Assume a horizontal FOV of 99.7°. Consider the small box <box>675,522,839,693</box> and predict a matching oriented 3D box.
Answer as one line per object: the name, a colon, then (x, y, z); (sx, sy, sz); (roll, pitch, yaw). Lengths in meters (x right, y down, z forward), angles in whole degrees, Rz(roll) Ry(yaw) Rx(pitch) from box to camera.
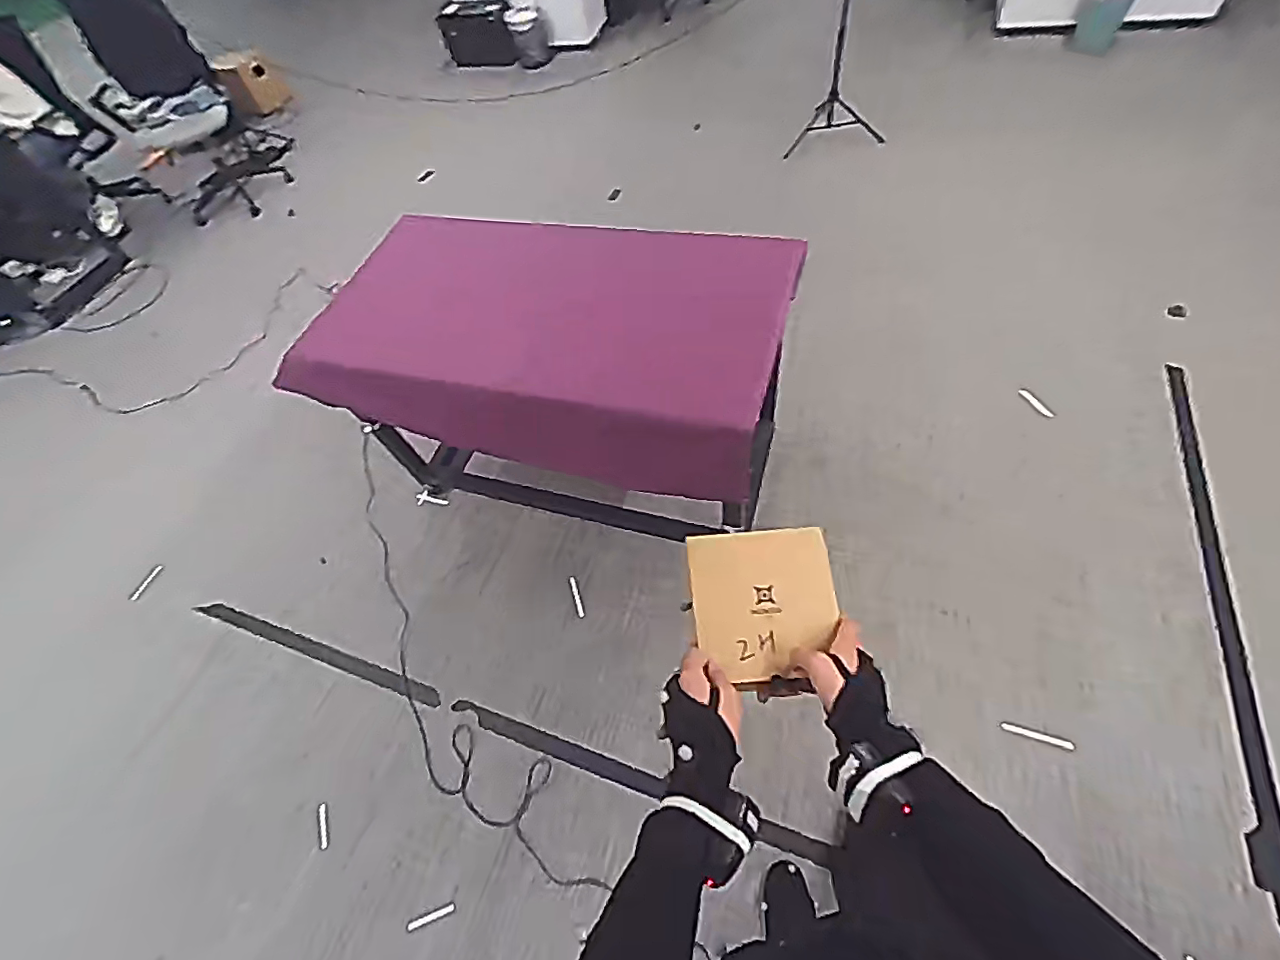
small box: (0.134, 0.170, 0.697); (0.168, 0.176, 0.179); (-7, 66, 2)
